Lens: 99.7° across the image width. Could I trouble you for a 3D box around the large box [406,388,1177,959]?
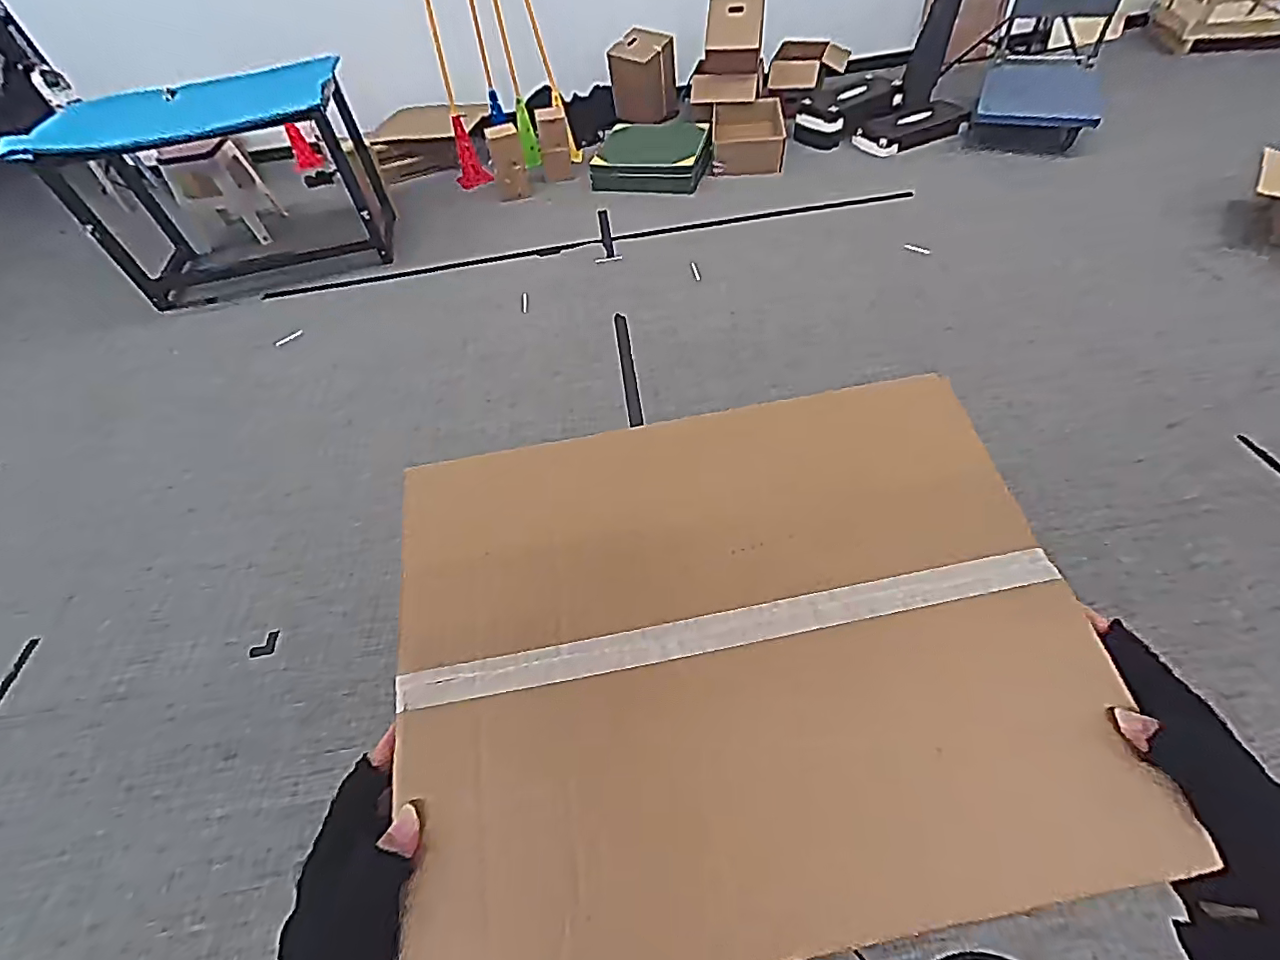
[{"bbox_3d":[0.065,0.167,0.466,0.408,0.320,0.320,-11,61,-2],"label":"large box"}]
